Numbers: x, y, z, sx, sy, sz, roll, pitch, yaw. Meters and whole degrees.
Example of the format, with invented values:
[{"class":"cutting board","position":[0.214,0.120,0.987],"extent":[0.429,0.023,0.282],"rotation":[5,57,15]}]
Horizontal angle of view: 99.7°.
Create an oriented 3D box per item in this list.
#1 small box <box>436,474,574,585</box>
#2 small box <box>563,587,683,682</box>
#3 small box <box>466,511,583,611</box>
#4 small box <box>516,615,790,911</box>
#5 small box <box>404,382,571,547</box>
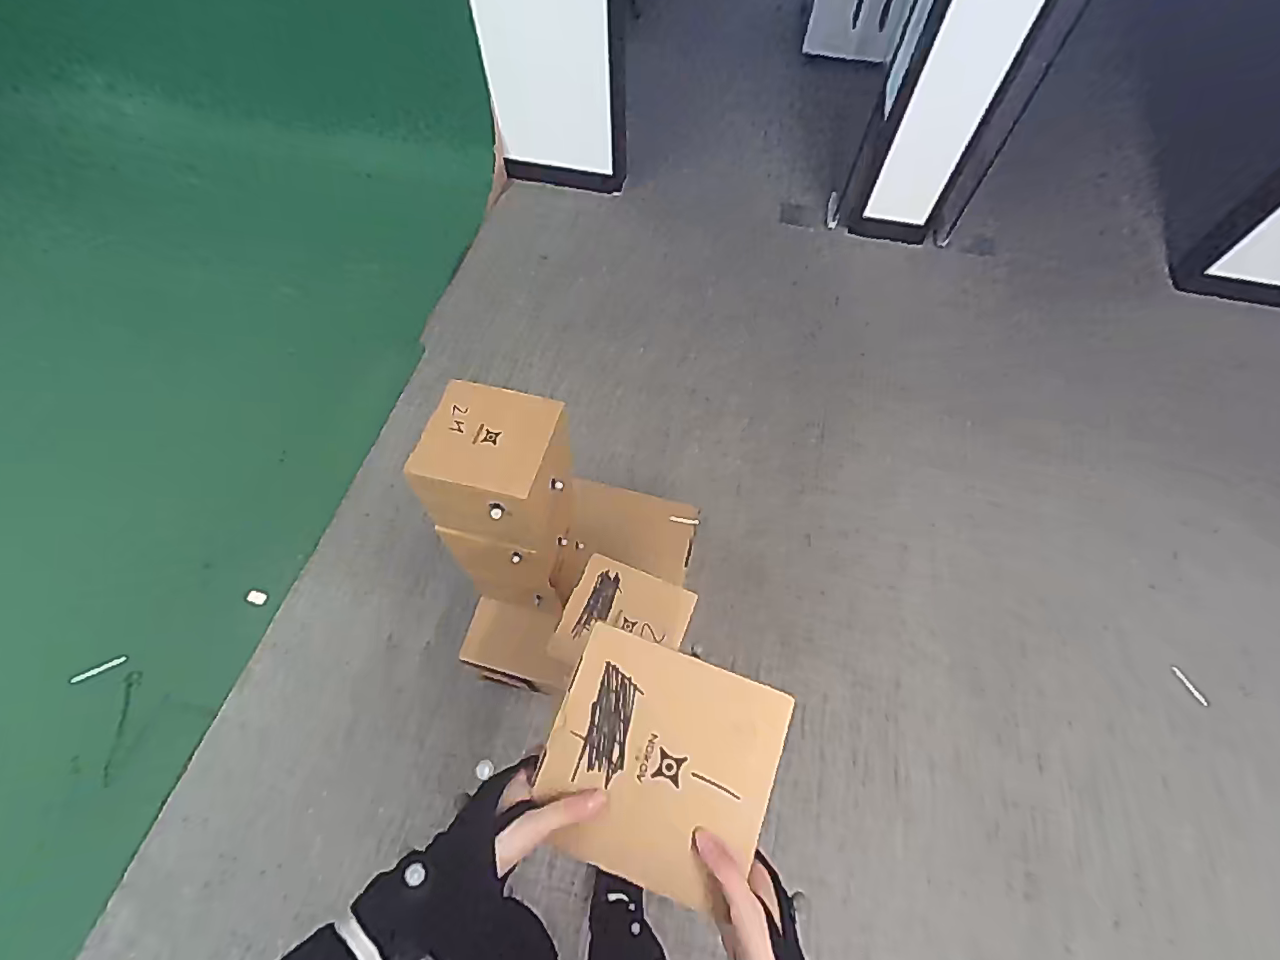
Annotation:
[{"class":"small box","position":[-0.224,0.069,0.952],"extent":[0.179,0.176,0.168],"rotation":[12,60,5]},{"class":"small box","position":[-0.030,0.325,0.996],"extent":[0.168,0.176,0.179],"rotation":[17,62,7]},{"class":"small box","position":[-0.220,0.153,1.091],"extent":[0.179,0.176,0.168],"rotation":[11,60,6]},{"class":"small box","position":[0.013,0.239,0.501],"extent":[0.179,0.176,0.168],"rotation":[20,74,5]},{"class":"small box","position":[-0.211,-0.016,0.811],"extent":[0.179,0.176,0.168],"rotation":[13,59,6]}]
